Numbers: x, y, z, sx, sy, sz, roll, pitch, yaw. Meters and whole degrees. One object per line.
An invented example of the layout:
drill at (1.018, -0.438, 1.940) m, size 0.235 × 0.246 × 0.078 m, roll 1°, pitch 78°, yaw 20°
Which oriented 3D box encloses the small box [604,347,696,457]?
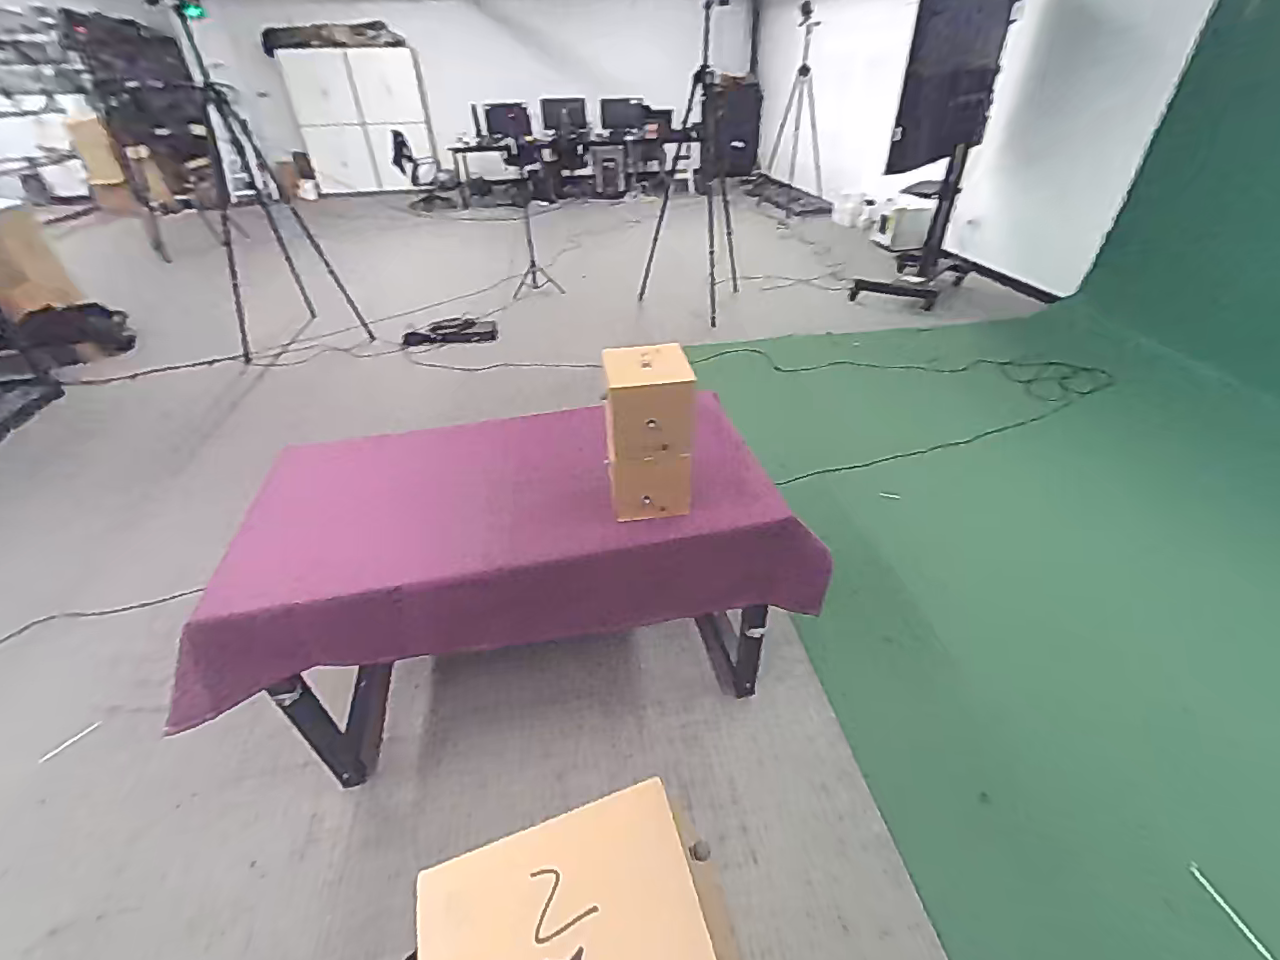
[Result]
small box at (0.018, -0.159, 1.126) m, size 0.168 × 0.176 × 0.179 m, roll -6°, pitch 37°, yaw -6°

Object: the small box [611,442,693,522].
small box at (0.021, -0.027, 1.225) m, size 0.168 × 0.176 × 0.179 m, roll -6°, pitch 38°, yaw -4°
